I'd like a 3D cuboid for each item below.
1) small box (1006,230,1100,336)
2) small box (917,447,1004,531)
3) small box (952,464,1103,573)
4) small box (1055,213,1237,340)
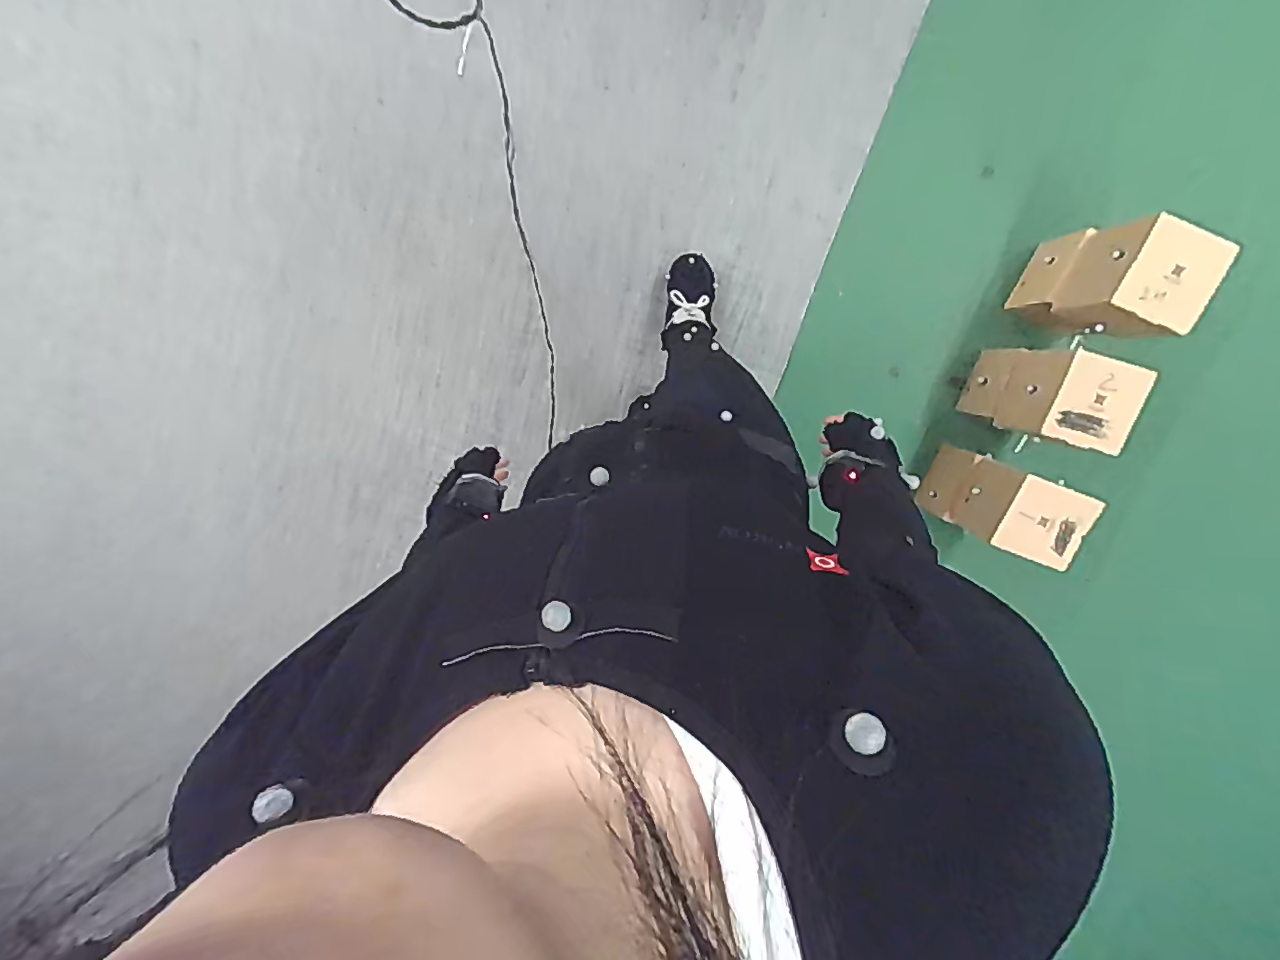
[{"bbox_3d":[1.000,-0.443,1.246,0.179,0.176,0.168,24,102,-2],"label":"small box"},{"bbox_3d":[0.831,0.034,1.357,0.168,0.176,0.179,22,102,-2],"label":"small box"},{"bbox_3d":[0.845,0.076,1.198,0.179,0.176,0.168,21,103,-1],"label":"small box"},{"bbox_3d":[0.997,-0.397,1.087,0.168,0.176,0.179,23,102,-2],"label":"small box"}]
